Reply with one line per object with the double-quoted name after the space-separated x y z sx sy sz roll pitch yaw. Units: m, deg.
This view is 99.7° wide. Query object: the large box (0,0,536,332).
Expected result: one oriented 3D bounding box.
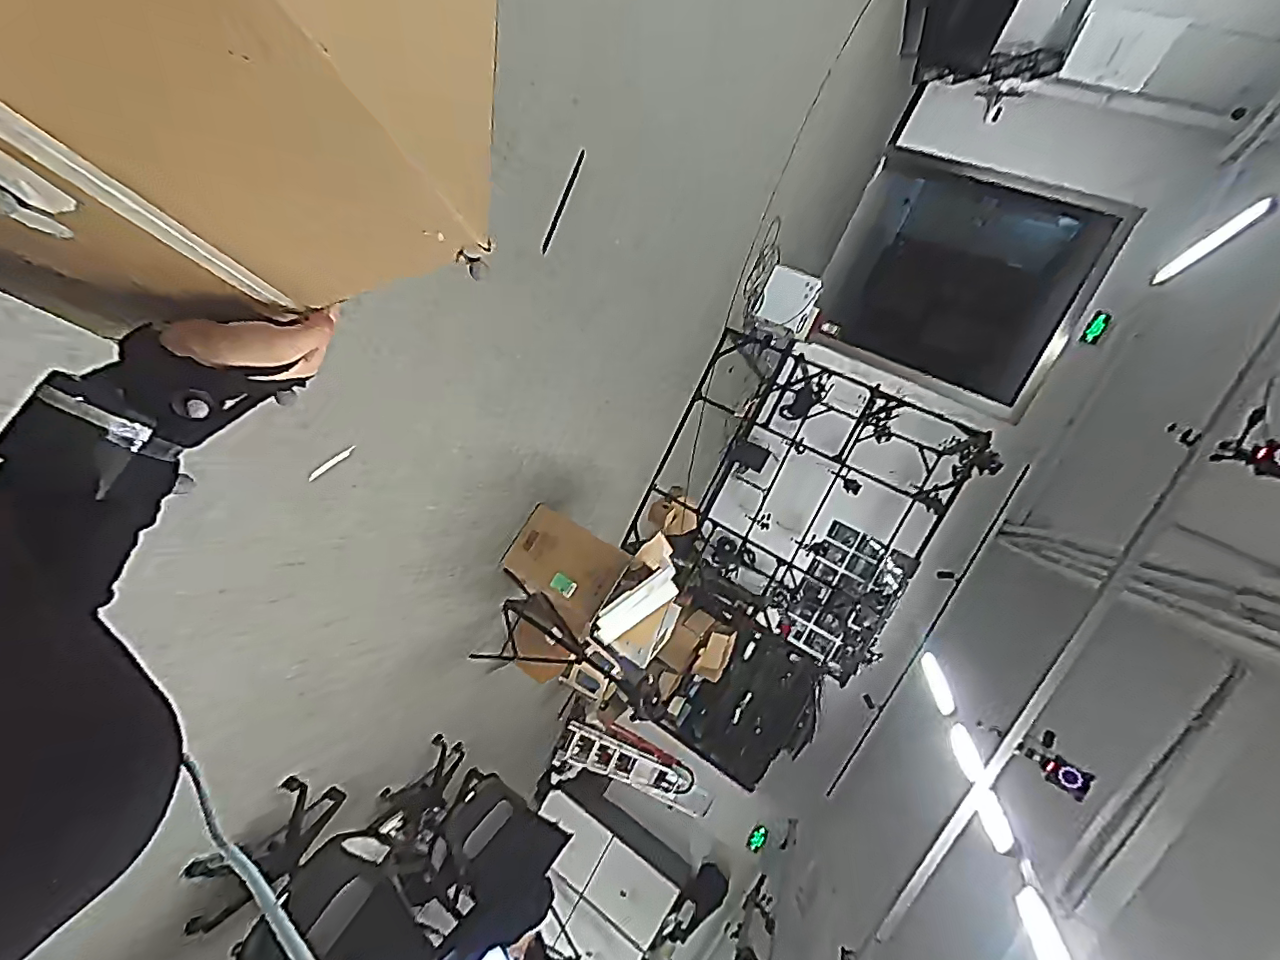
-0.282 -0.338 0.254 0.408 0.320 0.320 43 41 -65 "large box"
